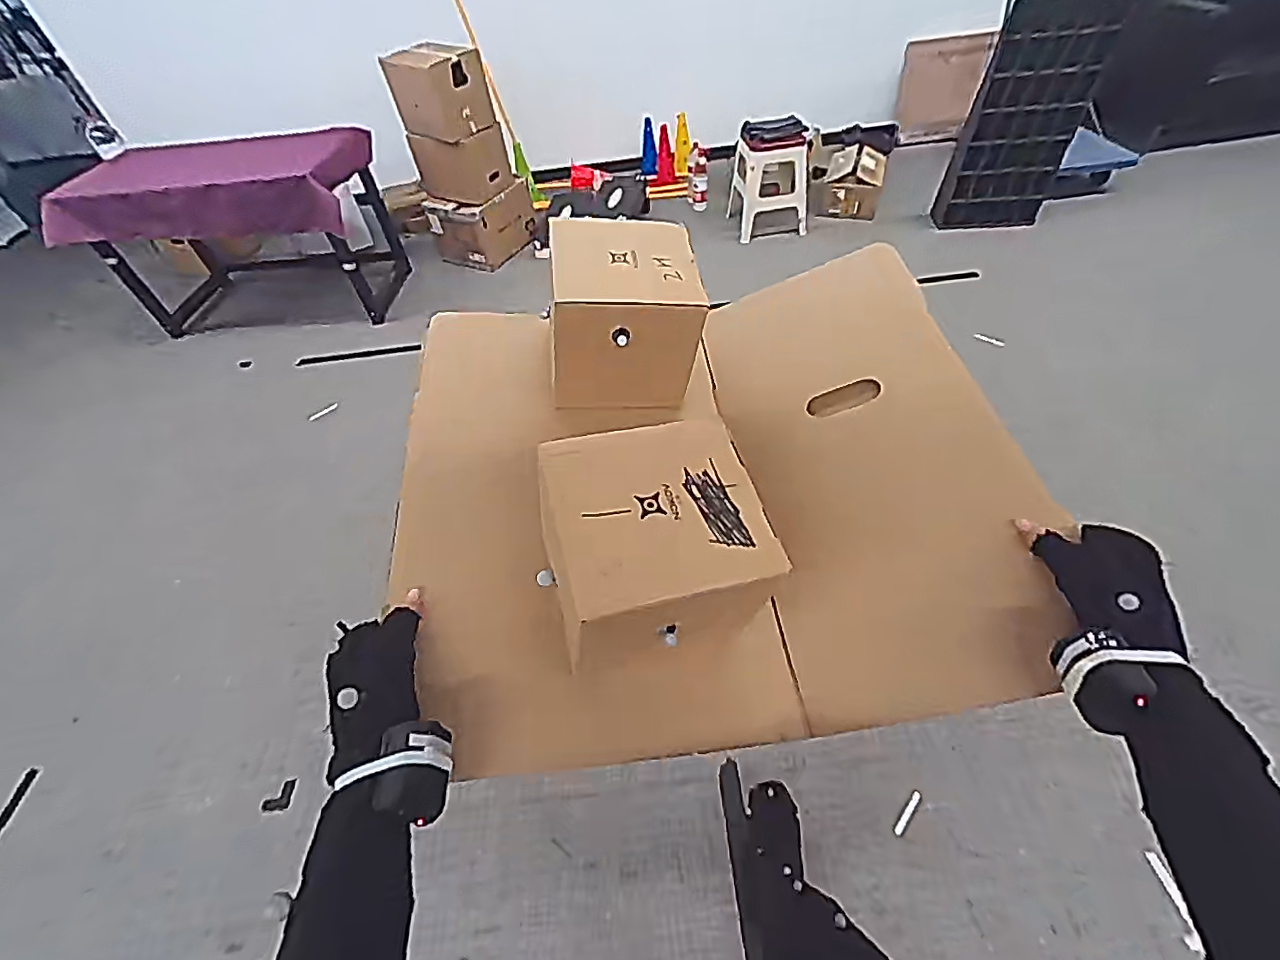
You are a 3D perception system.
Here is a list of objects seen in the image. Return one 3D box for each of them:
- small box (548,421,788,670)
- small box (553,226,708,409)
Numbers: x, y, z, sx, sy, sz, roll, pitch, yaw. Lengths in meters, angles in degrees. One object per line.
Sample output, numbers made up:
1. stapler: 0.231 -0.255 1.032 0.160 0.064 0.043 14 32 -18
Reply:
1. small box: 0.010 0.067 0.528 0.179 0.176 0.168 -10 58 -14
2. small box: -0.024 -0.208 0.713 0.179 0.176 0.168 -1 56 -10
